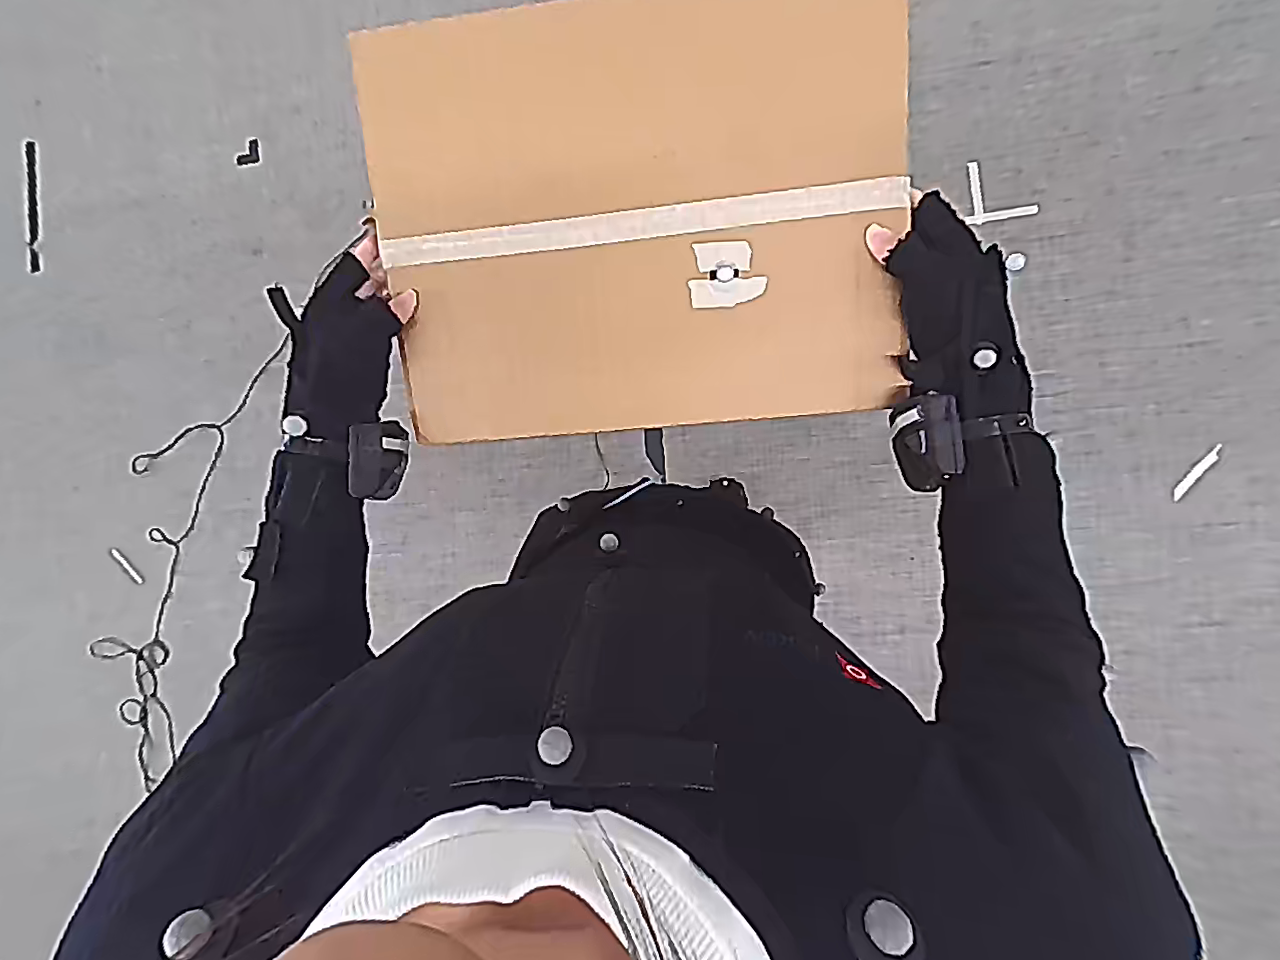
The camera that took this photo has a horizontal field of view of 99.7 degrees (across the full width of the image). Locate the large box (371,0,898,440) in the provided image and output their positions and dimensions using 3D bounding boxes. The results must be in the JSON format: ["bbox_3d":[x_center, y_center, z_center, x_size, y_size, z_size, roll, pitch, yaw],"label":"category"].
[{"bbox_3d":[0.008,-0.230,0.577,0.408,0.320,0.320,-4,101,5],"label":"large box"}]
